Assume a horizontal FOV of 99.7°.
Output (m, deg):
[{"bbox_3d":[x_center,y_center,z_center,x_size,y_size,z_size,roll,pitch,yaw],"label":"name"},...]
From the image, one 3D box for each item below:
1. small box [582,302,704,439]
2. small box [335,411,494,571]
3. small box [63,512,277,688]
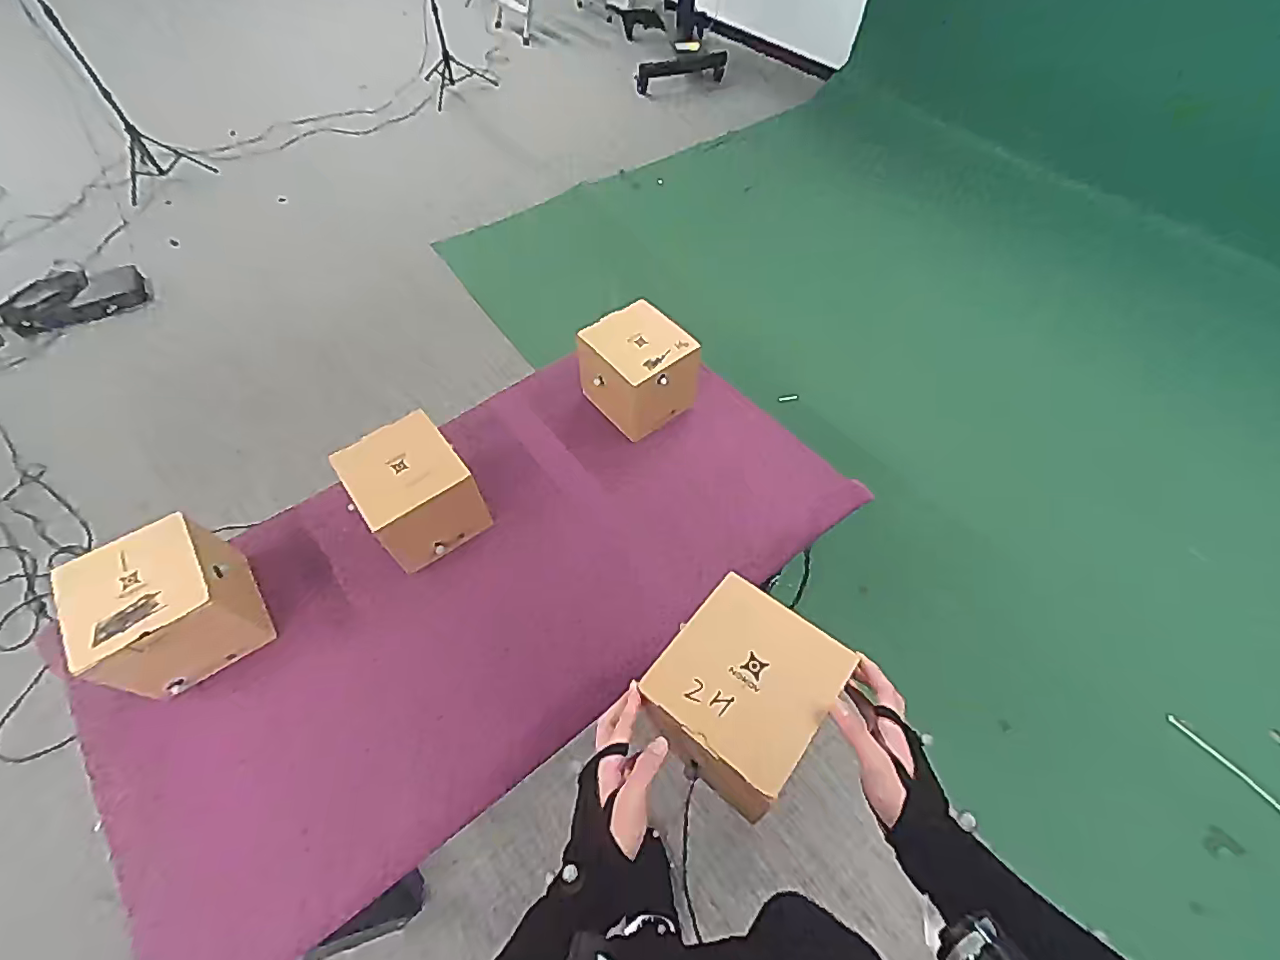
[{"bbox_3d":[0.003,-0.214,1.078,0.168,0.176,0.179,-35,63,-20],"label":"small box"},{"bbox_3d":[-0.373,0.023,0.920,0.168,0.176,0.179,-33,63,-20],"label":"small box"},{"bbox_3d":[-0.682,0.186,0.803,0.168,0.176,0.179,-31,63,-20],"label":"small box"}]
